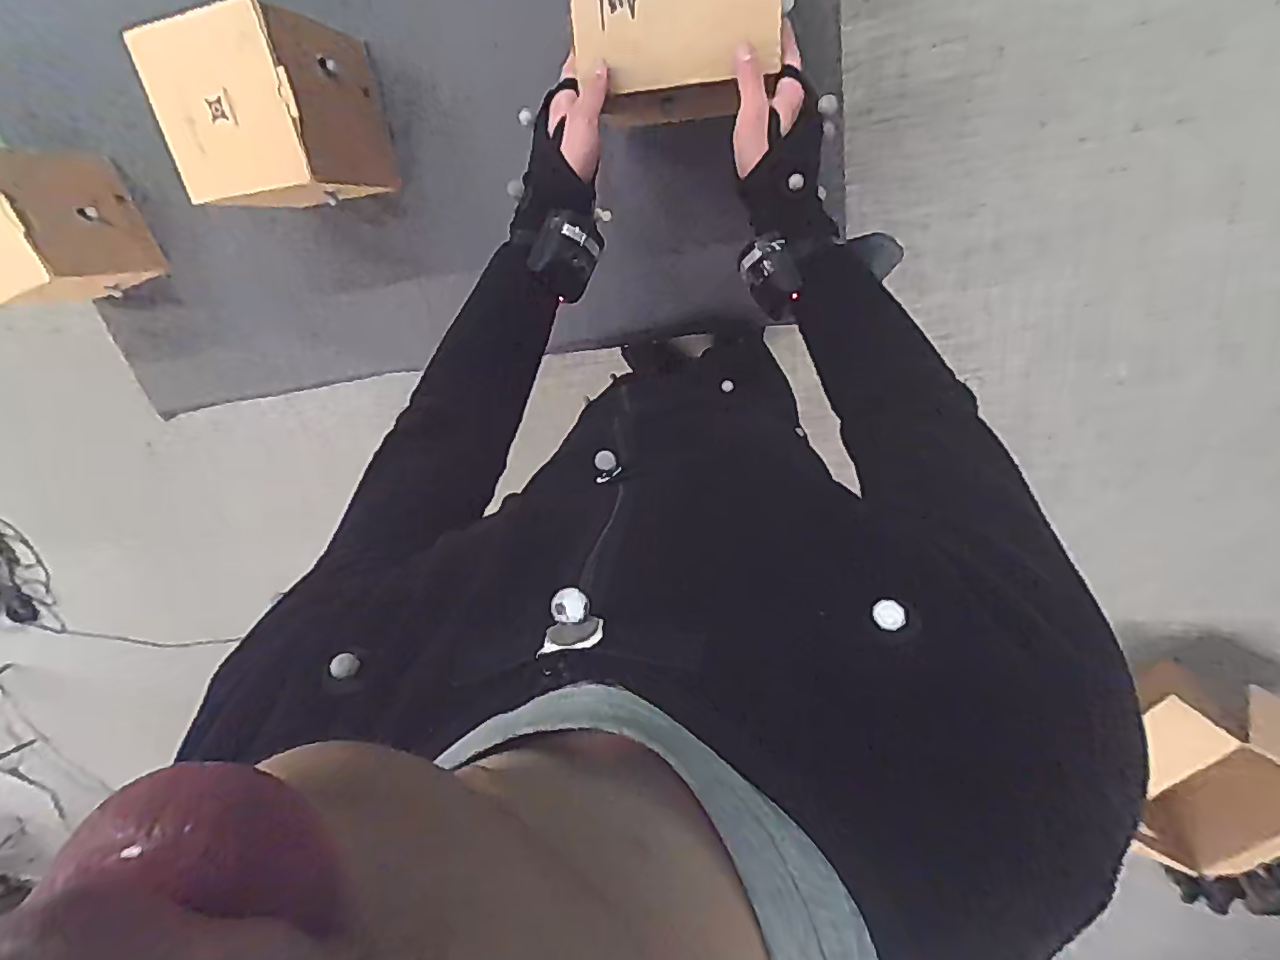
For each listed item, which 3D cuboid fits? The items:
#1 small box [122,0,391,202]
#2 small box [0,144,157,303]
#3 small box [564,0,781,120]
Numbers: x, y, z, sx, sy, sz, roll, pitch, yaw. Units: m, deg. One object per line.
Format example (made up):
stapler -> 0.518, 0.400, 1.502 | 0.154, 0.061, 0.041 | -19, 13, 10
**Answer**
small box -> -0.427, -0.434, 0.641 | 0.179, 0.176, 0.168 | -1, 114, 16
small box -> -0.863, -0.368, 0.781 | 0.179, 0.176, 0.168 | -9, 113, 17
small box -> 0.035, -0.440, 0.488 | 0.179, 0.176, 0.168 | 0, 116, 9
